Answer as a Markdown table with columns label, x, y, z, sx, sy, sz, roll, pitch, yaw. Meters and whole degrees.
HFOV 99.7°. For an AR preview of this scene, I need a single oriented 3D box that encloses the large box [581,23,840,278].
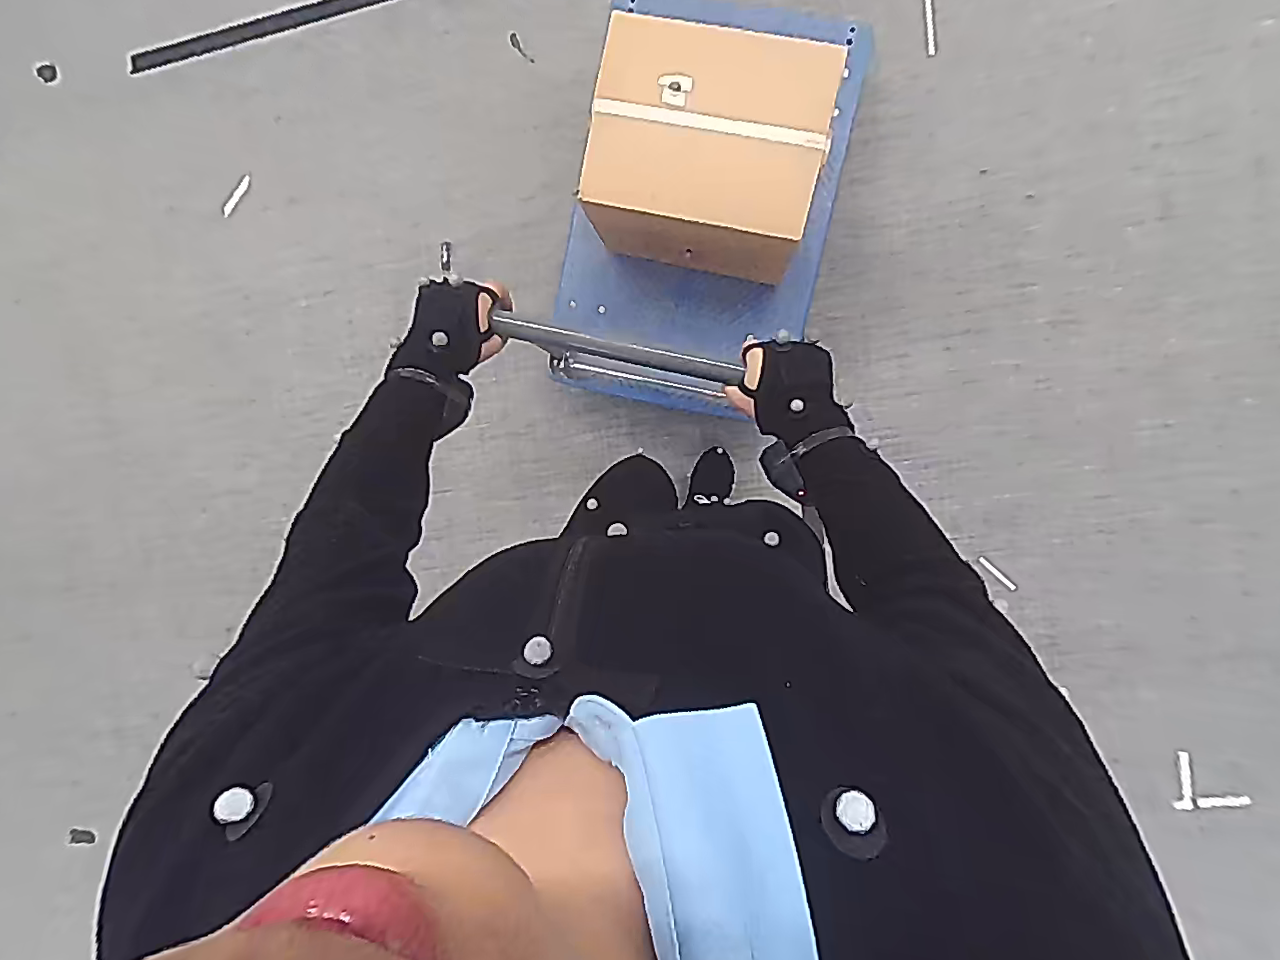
| label | x | y | z | sx | sy | sz | roll | pitch | yaw |
| --- | --- | --- | --- | --- | --- | --- | --- | --- | --- |
| large box | 0.135 | -0.625 | 1.084 | 0.408 | 0.320 | 0.320 | 13 | 97 | 6 |
